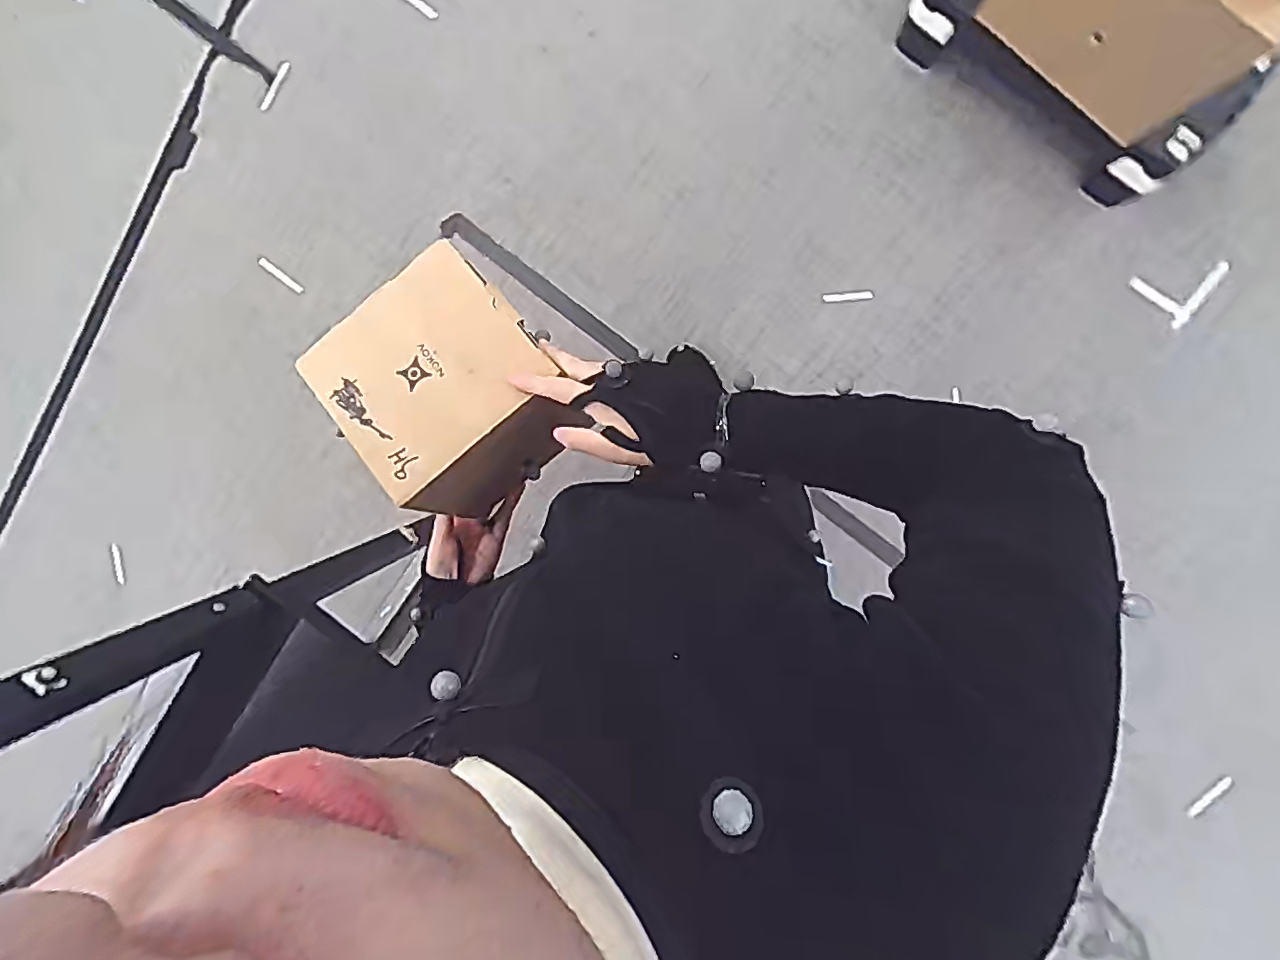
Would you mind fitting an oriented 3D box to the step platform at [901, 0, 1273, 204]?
[{"bbox_3d":[0.911,-0.938,1.144,0.684,0.204,0.286,43,101,1],"label":"step platform"}]

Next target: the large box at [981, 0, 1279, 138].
[{"bbox_3d":[0.903,-0.893,0.908,0.408,0.320,0.320,41,100,2],"label":"large box"}]

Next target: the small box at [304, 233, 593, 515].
[{"bbox_3d":[-0.160,-0.084,0.519,0.179,0.176,0.168,-39,79,-1],"label":"small box"}]
